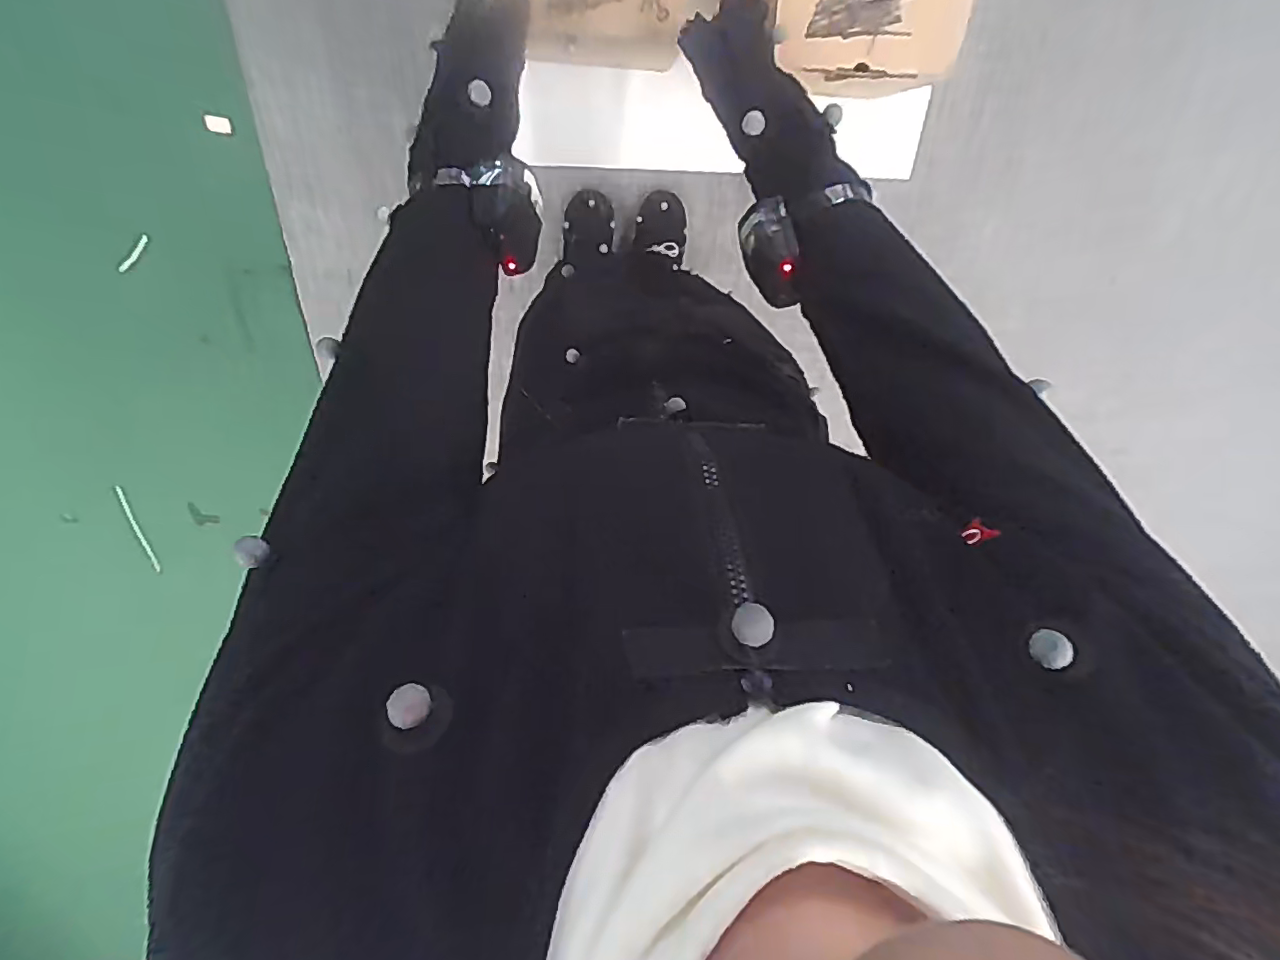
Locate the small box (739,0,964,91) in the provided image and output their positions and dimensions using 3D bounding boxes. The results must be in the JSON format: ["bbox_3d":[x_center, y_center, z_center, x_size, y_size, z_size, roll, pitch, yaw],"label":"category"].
[{"bbox_3d":[0.193,-0.479,0.502,0.168,0.176,0.179,3,119,-2],"label":"small box"}]

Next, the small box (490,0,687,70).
[{"bbox_3d":[-0.038,-0.498,0.486,0.168,0.176,0.179,4,119,-2],"label":"small box"}]
